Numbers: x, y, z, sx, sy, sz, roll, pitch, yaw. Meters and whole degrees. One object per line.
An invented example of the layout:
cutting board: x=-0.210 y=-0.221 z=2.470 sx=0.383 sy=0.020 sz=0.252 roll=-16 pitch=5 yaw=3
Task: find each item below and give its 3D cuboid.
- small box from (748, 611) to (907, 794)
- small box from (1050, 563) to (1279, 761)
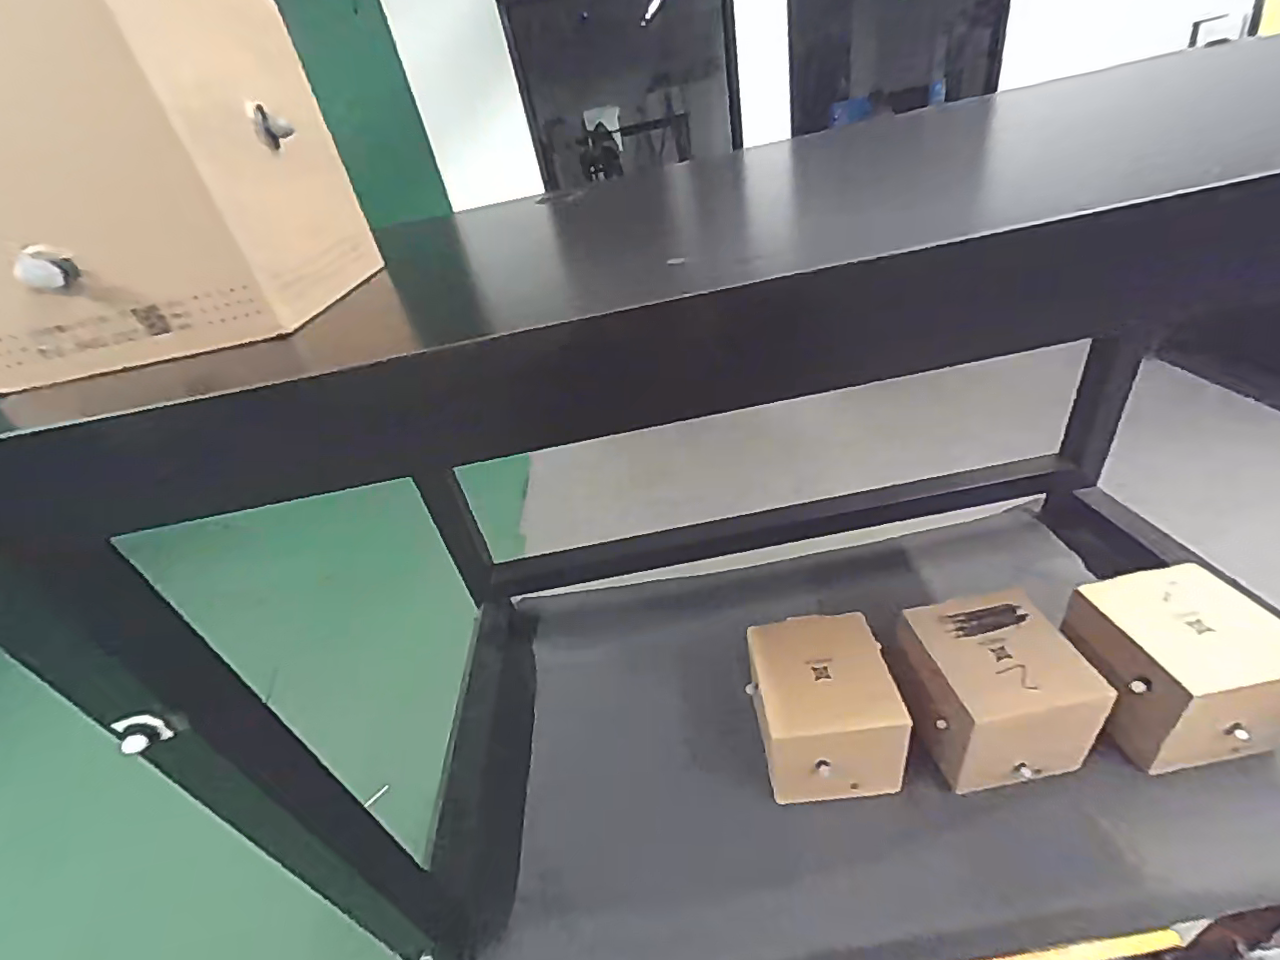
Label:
small box: x=0.252 y=0.314 z=0.756 sx=0.168 sy=0.176 sz=0.179 roll=-9 pitch=33 yaw=5
small box: x=0.693 y=0.242 z=0.709 sx=0.168 sy=0.176 sz=0.179 roll=-12 pitch=32 yaw=1
